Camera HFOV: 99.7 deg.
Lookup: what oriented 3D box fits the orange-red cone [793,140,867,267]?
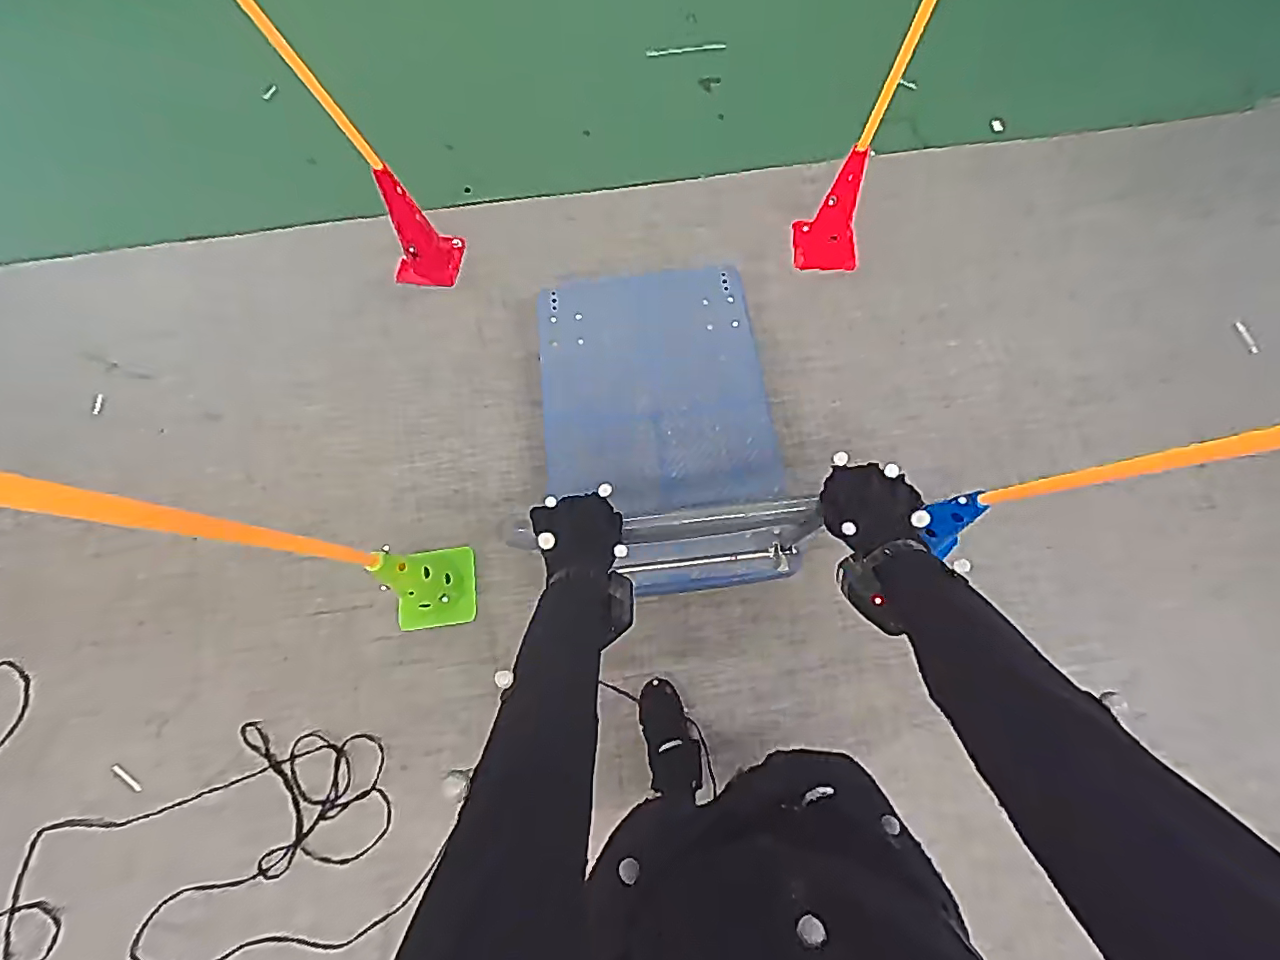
[{"bbox_3d":[0.593,-0.831,1.599,0.198,0.360,0.199,4,72,3],"label":"orange-red cone"}]
